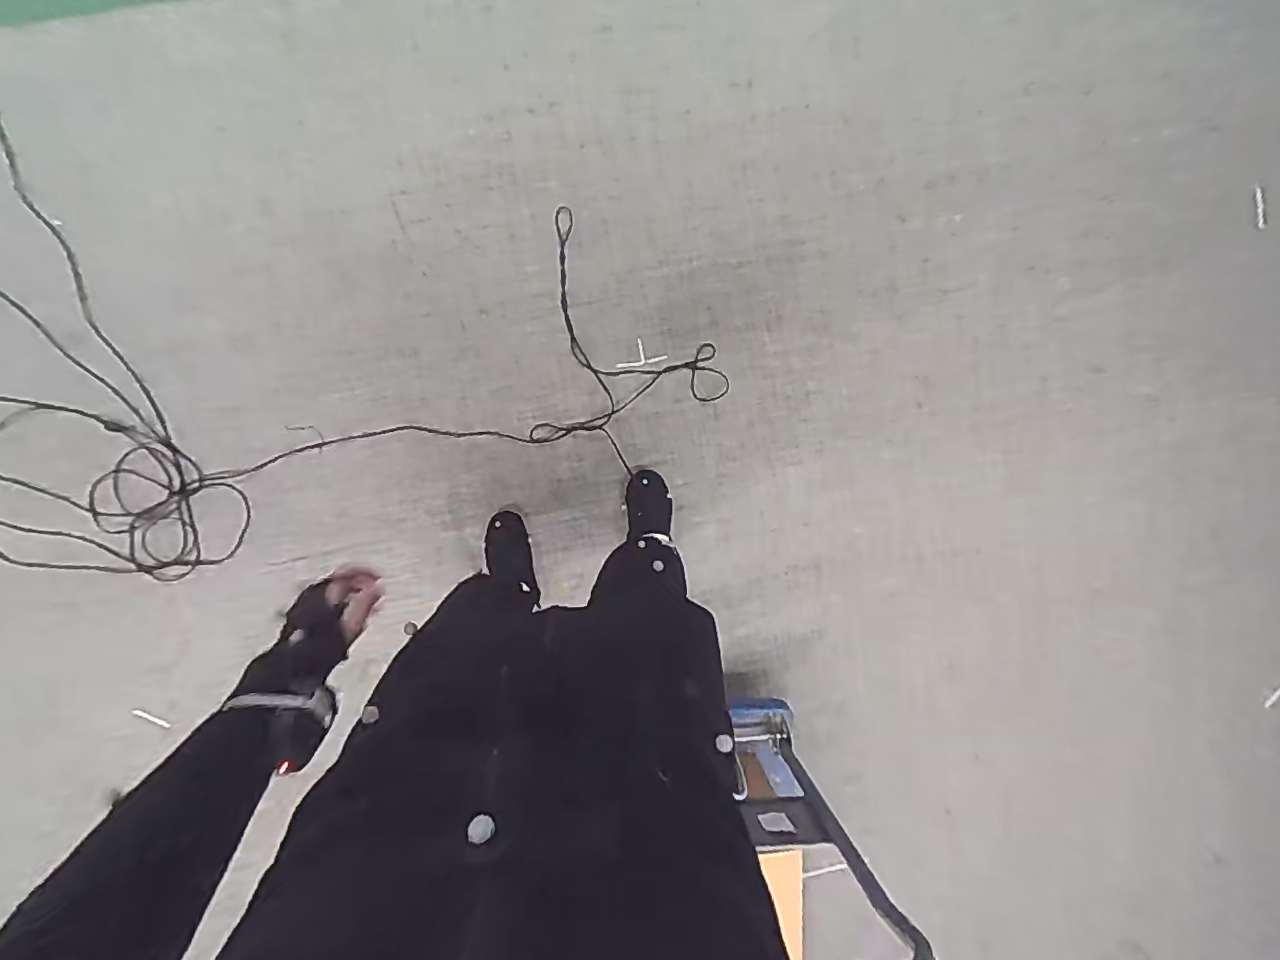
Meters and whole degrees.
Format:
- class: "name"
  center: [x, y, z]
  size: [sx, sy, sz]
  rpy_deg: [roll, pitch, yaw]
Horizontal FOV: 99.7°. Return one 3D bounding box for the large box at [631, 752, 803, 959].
- class: "large box"
  center: [0.150, 0.880, 1.185]
  size: [0.320, 0.320, 0.408]
  rpy_deg: [-2, 95, -4]
